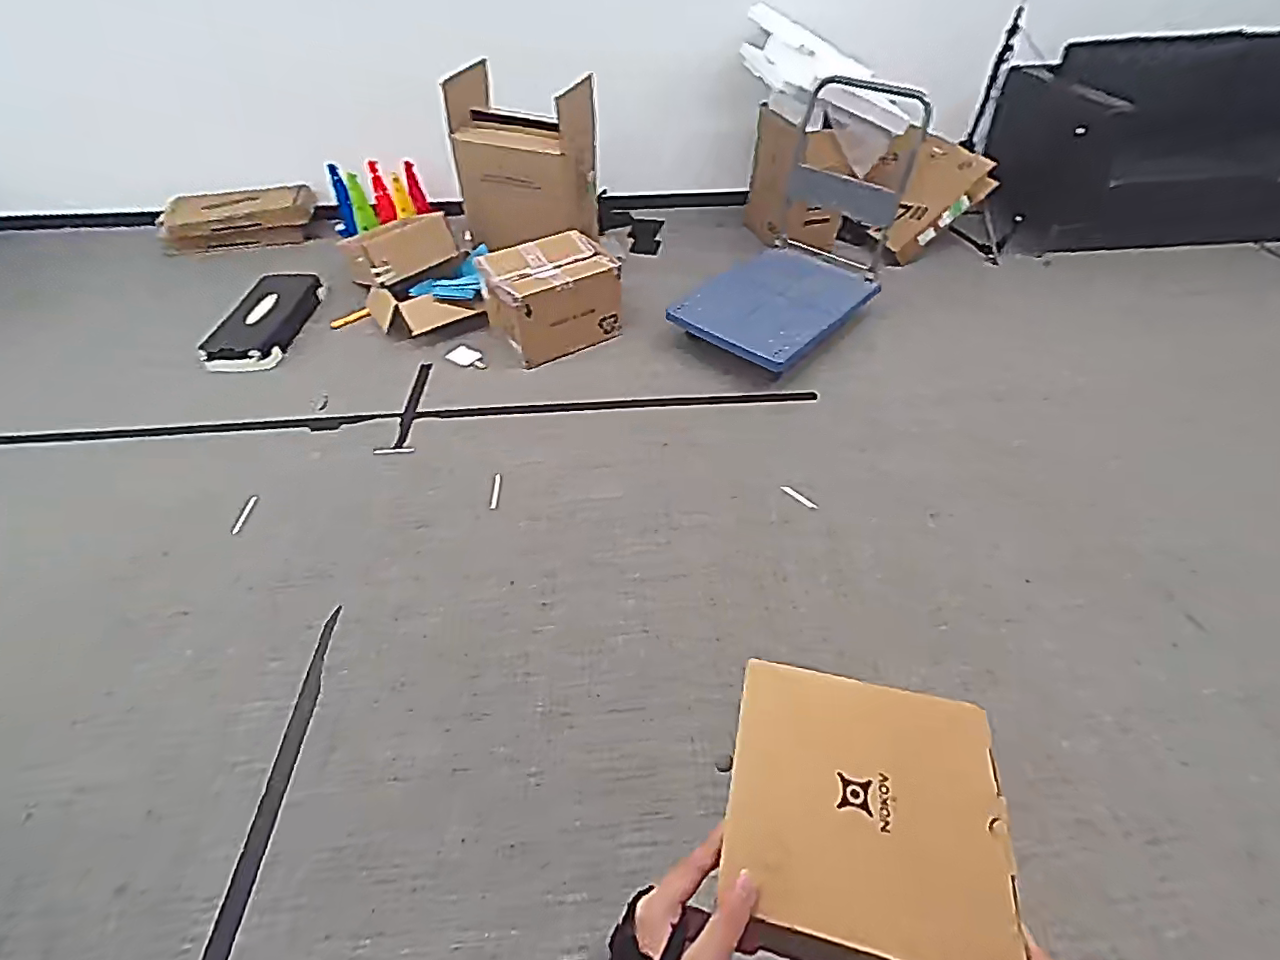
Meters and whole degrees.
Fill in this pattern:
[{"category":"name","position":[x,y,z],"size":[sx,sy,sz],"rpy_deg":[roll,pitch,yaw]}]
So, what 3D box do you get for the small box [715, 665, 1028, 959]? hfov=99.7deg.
[{"category":"small box","position":[0.156,0.272,0.419],"size":[0.179,0.176,0.168],"rpy_deg":[8,47,13]}]
